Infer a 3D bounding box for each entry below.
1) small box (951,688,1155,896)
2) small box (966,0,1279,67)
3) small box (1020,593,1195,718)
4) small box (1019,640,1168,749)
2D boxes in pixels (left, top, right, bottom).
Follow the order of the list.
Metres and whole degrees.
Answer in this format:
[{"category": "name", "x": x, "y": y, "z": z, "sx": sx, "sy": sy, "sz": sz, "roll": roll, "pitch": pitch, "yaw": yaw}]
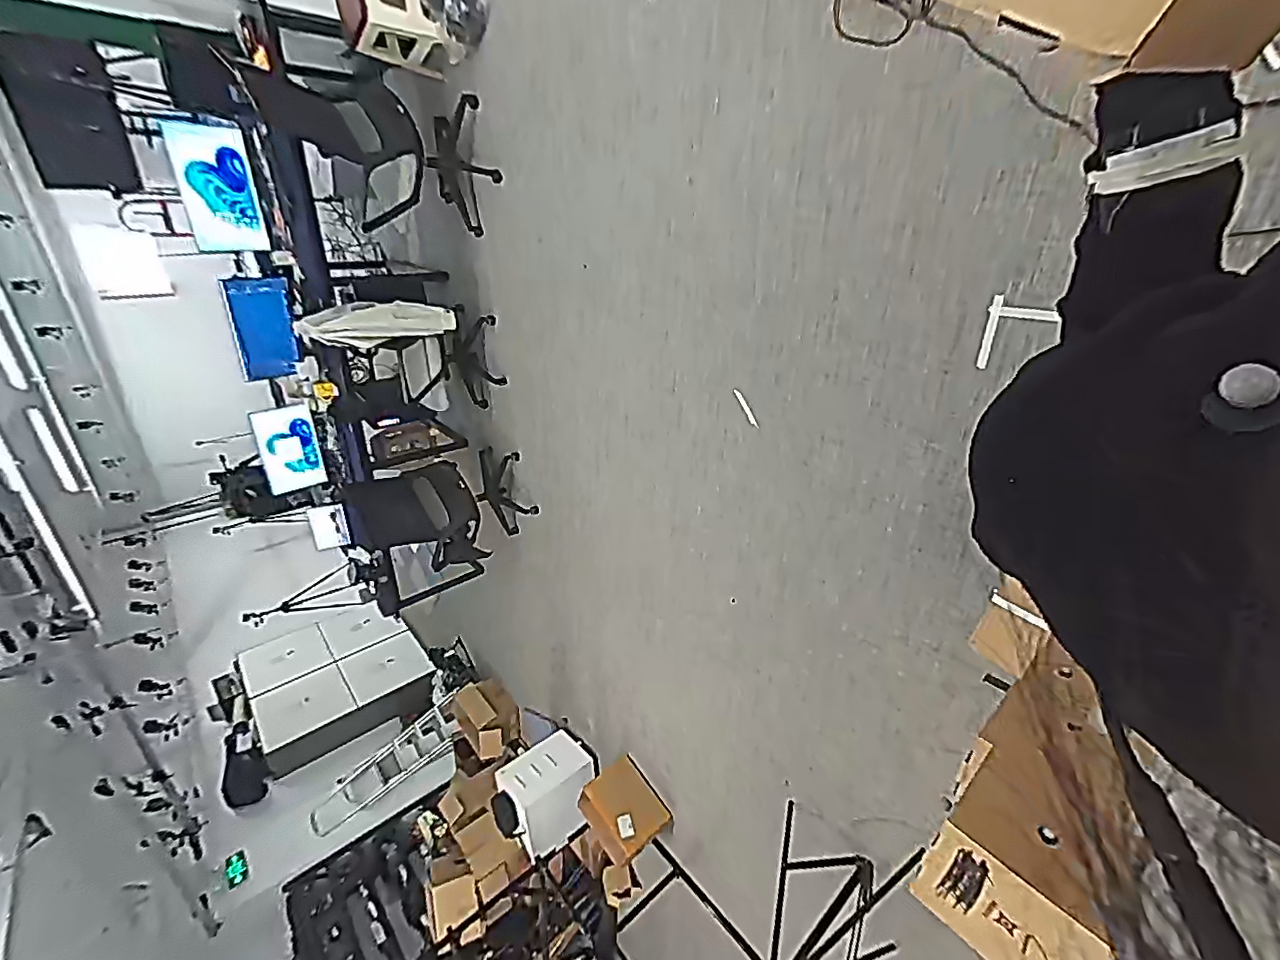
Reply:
[{"category": "small box", "x": 0.603, "y": 0.439, "z": 0.798, "sx": 0.179, "sy": 0.176, "sz": 0.168, "roll": 28, "pitch": 127, "yaw": 43}, {"category": "small box", "x": 0.228, "y": -0.301, "z": 0.218, "sx": 0.168, "sy": 0.176, "sz": 0.179, "roll": 53, "pitch": 150, "yaw": 25}, {"category": "small box", "x": 0.850, "y": 0.337, "z": 0.985, "sx": 0.179, "sy": 0.176, "sz": 0.168, "roll": 37, "pitch": 132, "yaw": 37}, {"category": "small box", "x": 0.731, "y": 0.398, "z": 0.892, "sx": 0.168, "sy": 0.176, "sz": 0.179, "roll": 21, "pitch": 123, "yaw": 46}]
